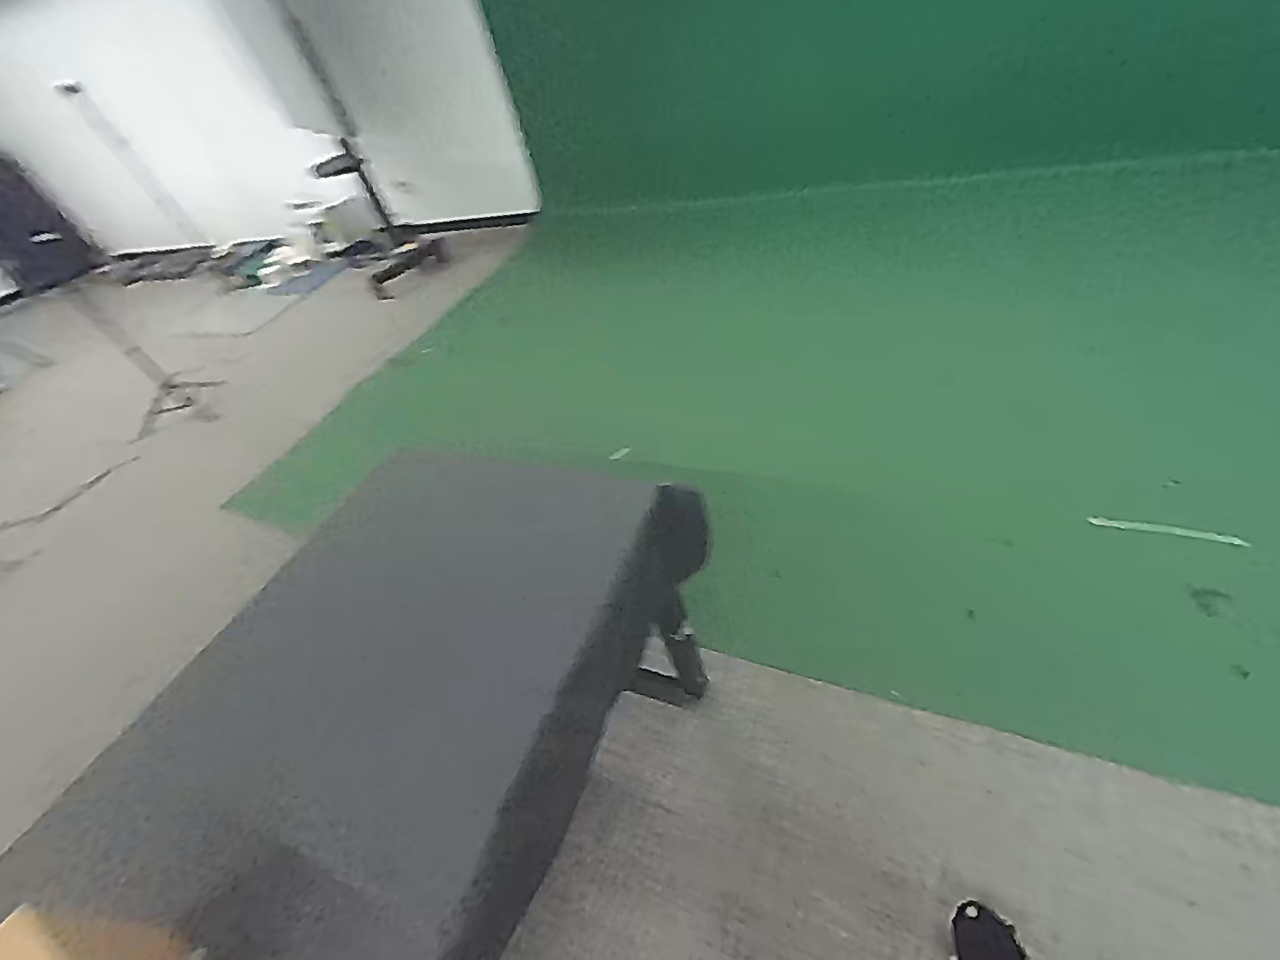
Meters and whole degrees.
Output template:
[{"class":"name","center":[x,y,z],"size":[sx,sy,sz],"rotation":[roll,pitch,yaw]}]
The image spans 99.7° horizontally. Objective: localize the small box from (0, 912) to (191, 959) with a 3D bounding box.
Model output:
[{"class":"small box","center":[-0.501,0.513,0.450],"size":[0.168,0.176,0.179],"rotation":[11,49,25]}]
